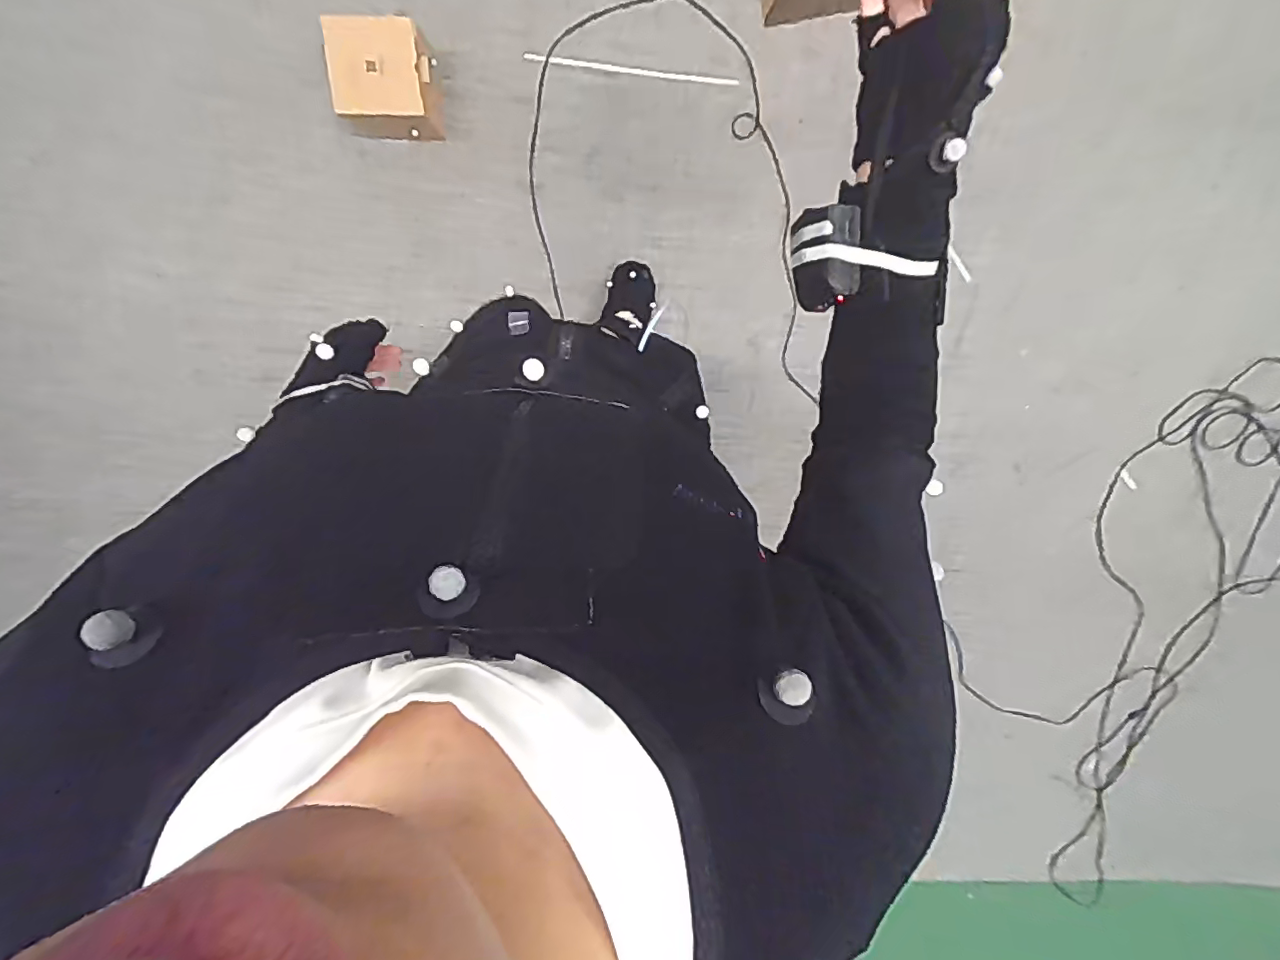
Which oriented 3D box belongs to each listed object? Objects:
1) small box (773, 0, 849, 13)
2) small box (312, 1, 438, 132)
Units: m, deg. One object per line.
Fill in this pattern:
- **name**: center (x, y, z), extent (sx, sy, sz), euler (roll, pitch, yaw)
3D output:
- **small box**: center (0.170, -0.455, 0.347), extent (0.168, 0.176, 0.179), euler (-9, 111, 3)
- **small box**: center (-0.521, -0.826, 1.096), extent (0.179, 0.176, 0.168), euler (-1, 109, -3)
